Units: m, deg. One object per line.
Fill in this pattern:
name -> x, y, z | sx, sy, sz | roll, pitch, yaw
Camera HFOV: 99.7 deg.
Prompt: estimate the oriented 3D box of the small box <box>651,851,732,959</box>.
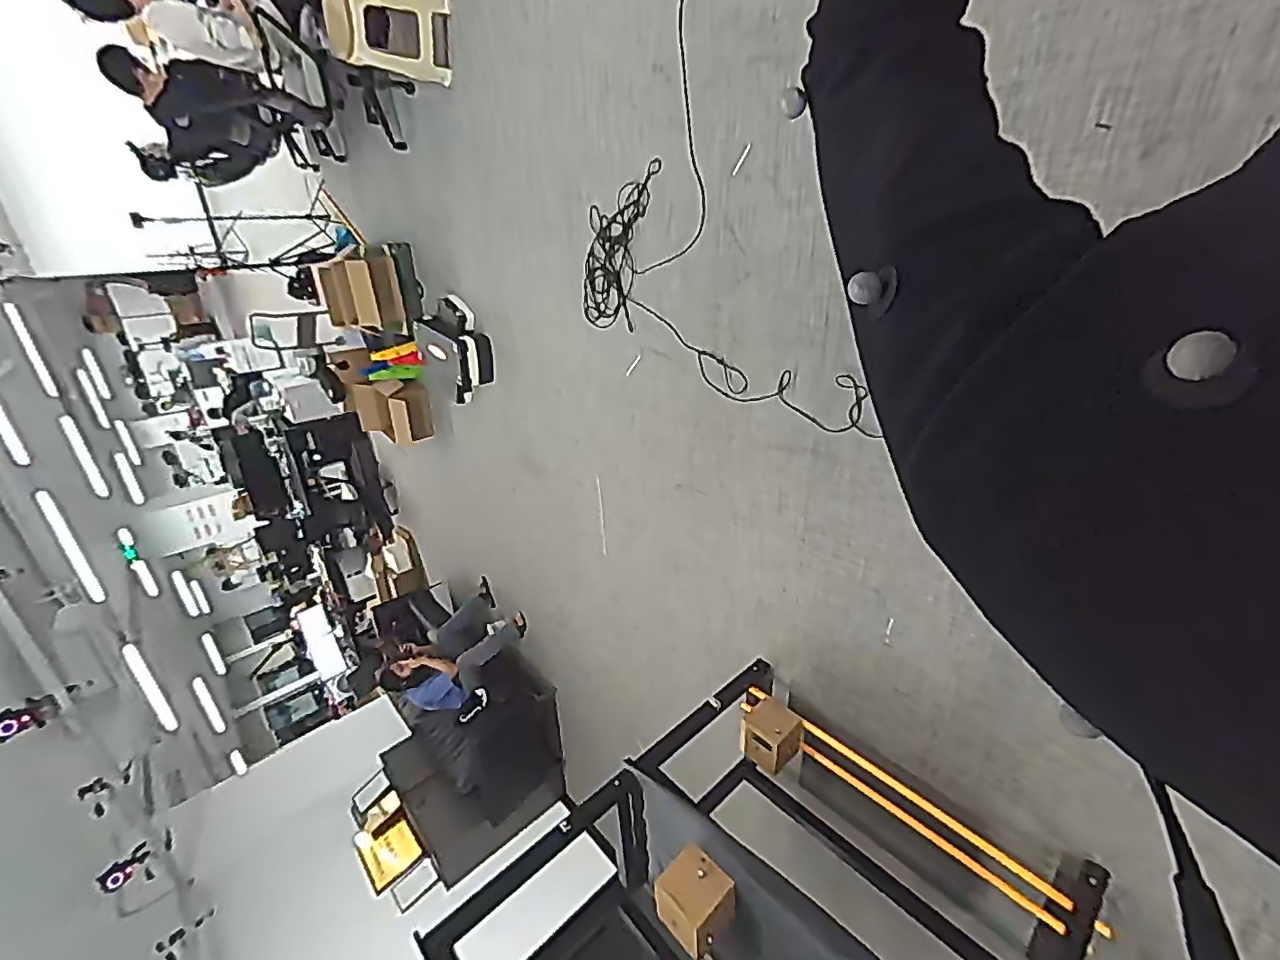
small box -> 0.150, 1.235, 1.560 | 0.168, 0.176, 0.179 | 20, 123, 43
